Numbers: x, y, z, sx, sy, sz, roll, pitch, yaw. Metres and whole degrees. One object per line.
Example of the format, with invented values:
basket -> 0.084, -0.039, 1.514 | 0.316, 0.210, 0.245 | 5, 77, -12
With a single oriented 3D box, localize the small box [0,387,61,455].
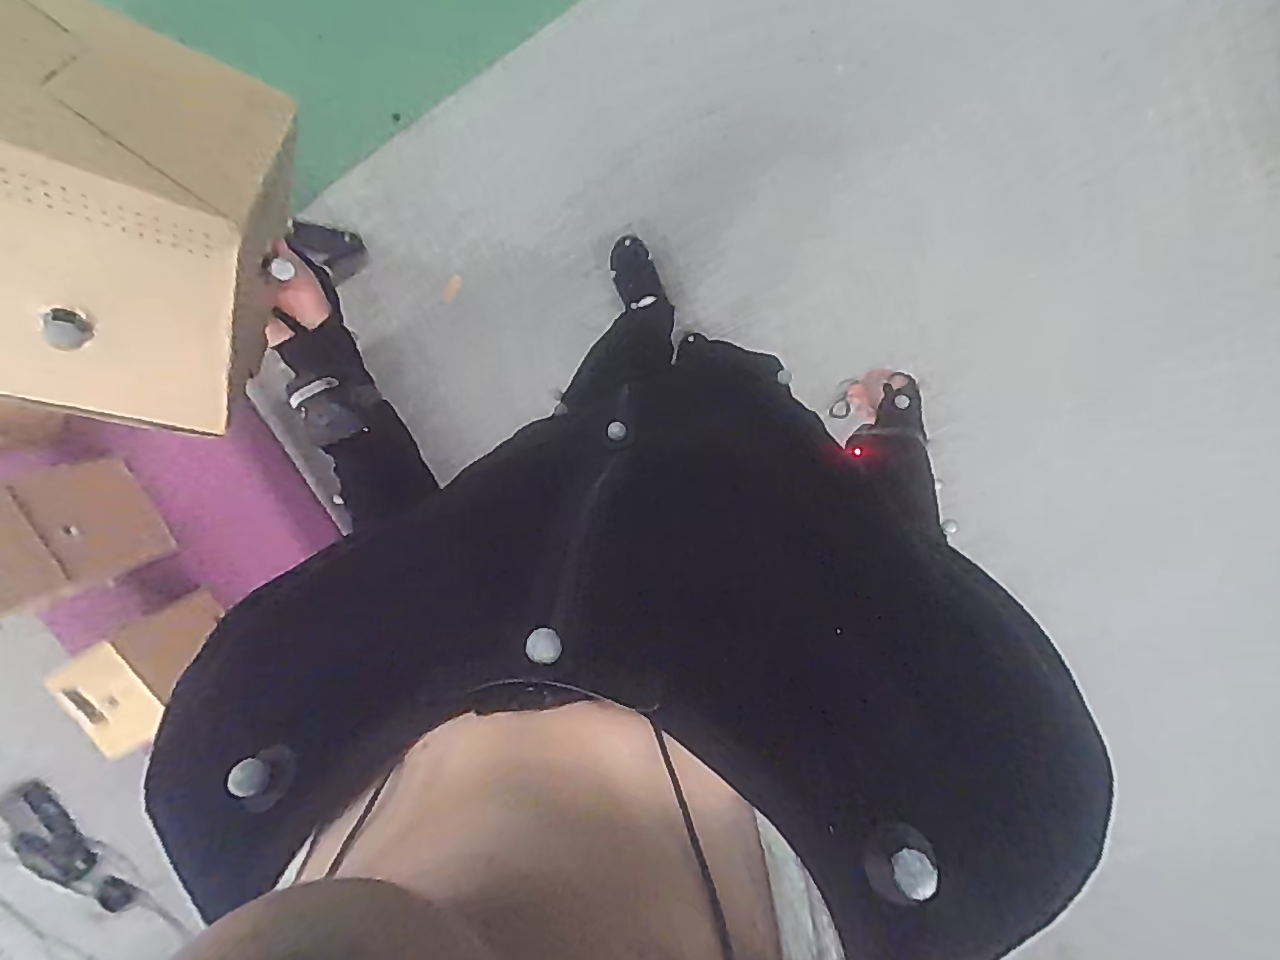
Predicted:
small box -> -1.017, -0.134, 0.786 | 0.179, 0.176, 0.168 | 43, 108, -6

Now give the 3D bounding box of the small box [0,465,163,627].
small box -> -0.912, 0.096, 0.839 | 0.168, 0.176, 0.179 | -21, 102, 13

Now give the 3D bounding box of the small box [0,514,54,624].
small box -> -0.929, 0.134, 0.680 | 0.168, 0.176, 0.179 | -20, 103, 13

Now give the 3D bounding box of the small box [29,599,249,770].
small box -> -0.807, 0.328, 0.890 | 0.179, 0.176, 0.168 | -28, 101, 14

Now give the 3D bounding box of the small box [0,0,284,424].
small box -> -0.319, -0.162, 0.306 | 0.179, 0.168, 0.176 | 13, 136, -32
